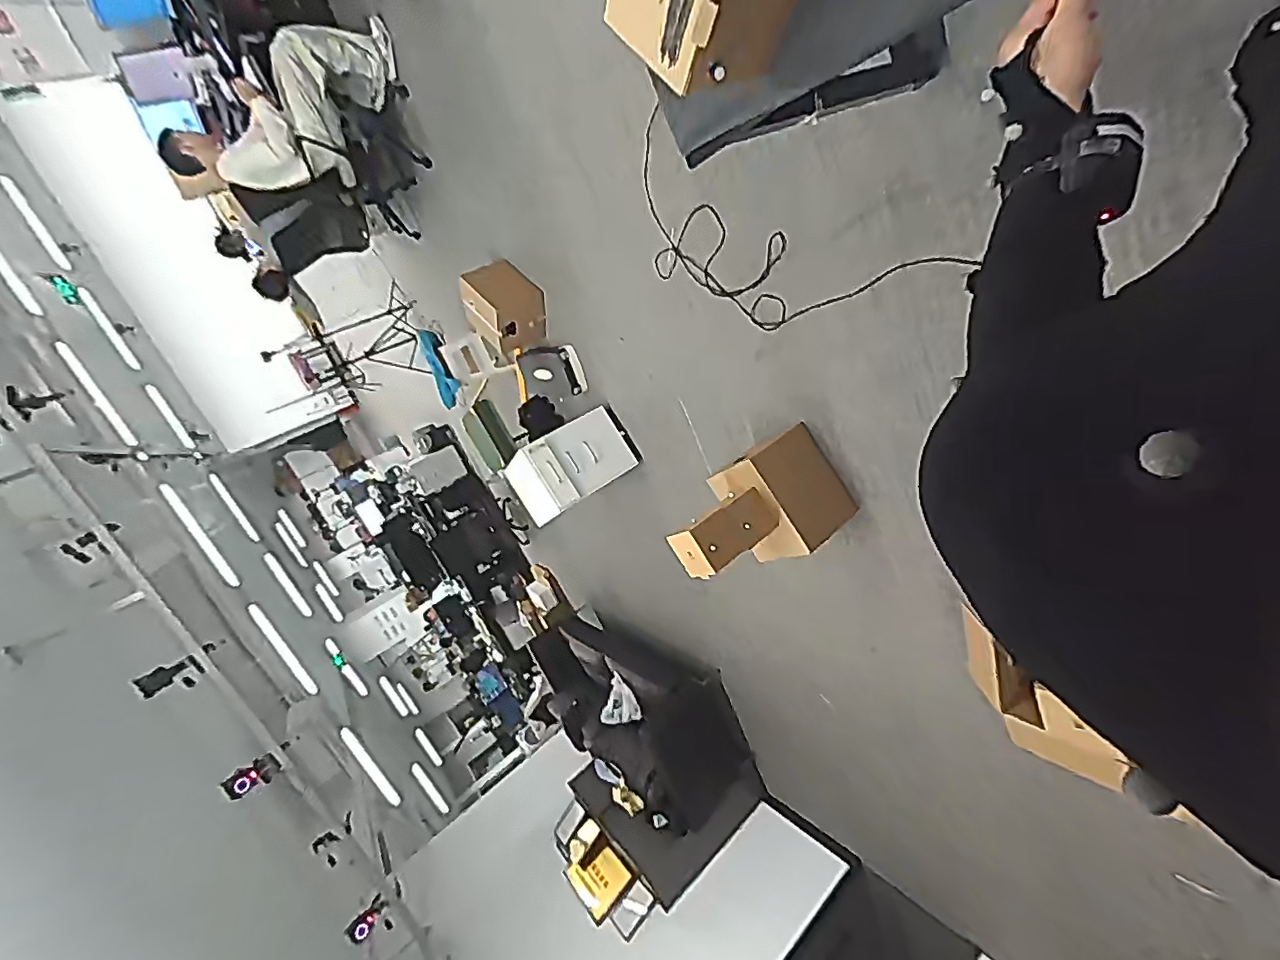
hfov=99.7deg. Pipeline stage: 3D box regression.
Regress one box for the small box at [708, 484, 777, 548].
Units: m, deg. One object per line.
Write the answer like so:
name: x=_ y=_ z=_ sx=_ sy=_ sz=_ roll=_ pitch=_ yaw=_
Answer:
small box: x=0.370 y=0.138 z=1.983 sx=0.179 sy=0.176 sz=0.168 roll=58 pitch=152 yaw=-1

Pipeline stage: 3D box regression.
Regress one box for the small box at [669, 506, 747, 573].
small box: x=0.242 y=0.205 z=1.907 sx=0.179 sy=0.176 sz=0.168 roll=58 pitch=152 yaw=-2

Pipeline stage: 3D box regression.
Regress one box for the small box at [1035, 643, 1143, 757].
small box: x=1.151 y=0.553 z=1.381 sx=0.168 sy=0.176 sz=0.179 roll=1 pitch=120 yaw=56
